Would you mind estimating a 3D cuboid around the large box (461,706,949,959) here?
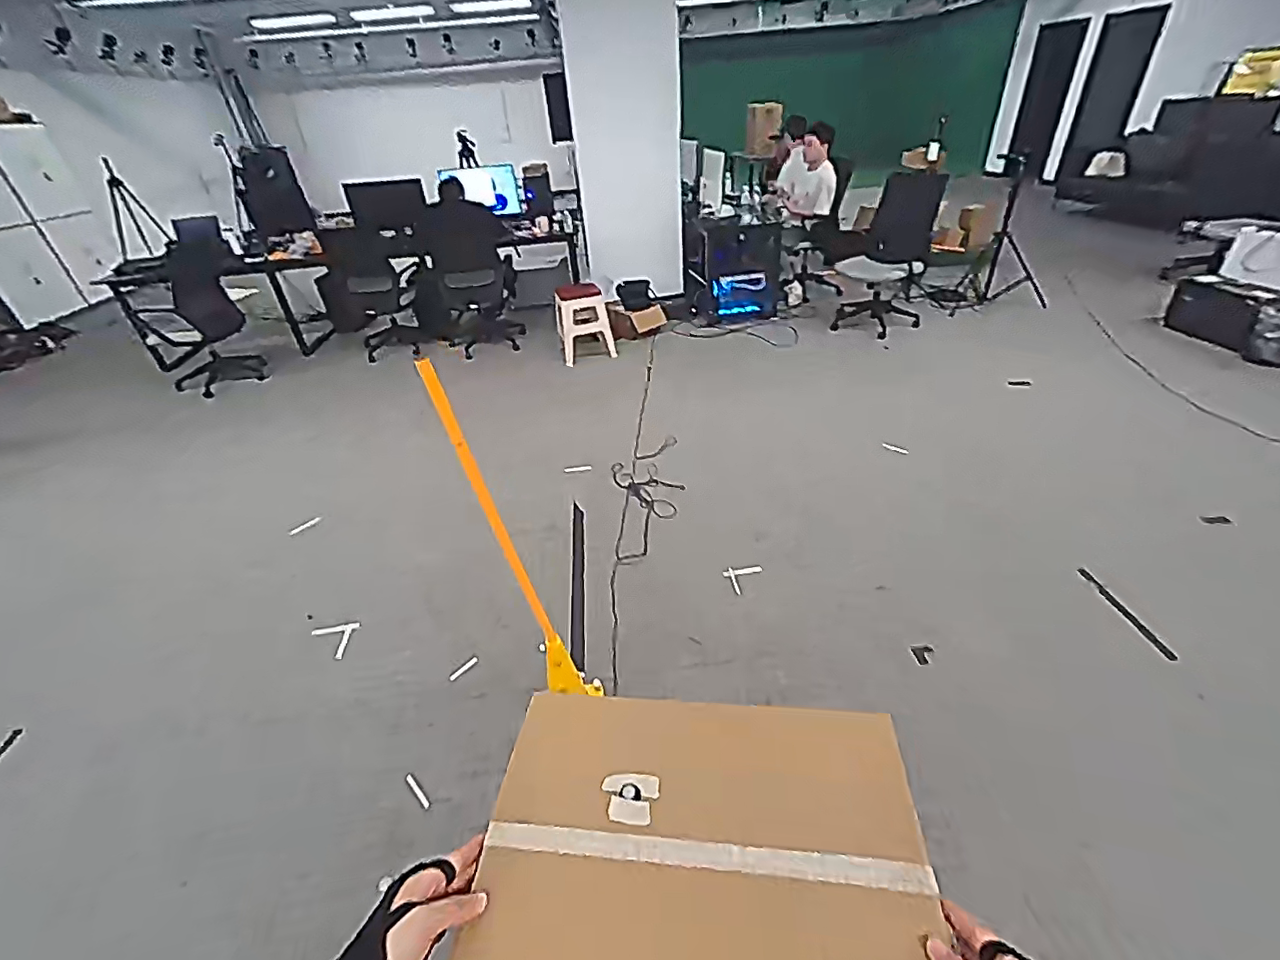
[{"bbox_3d":[0.071,0.475,0.585,0.408,0.320,0.320,-3,31,9],"label":"large box"}]
